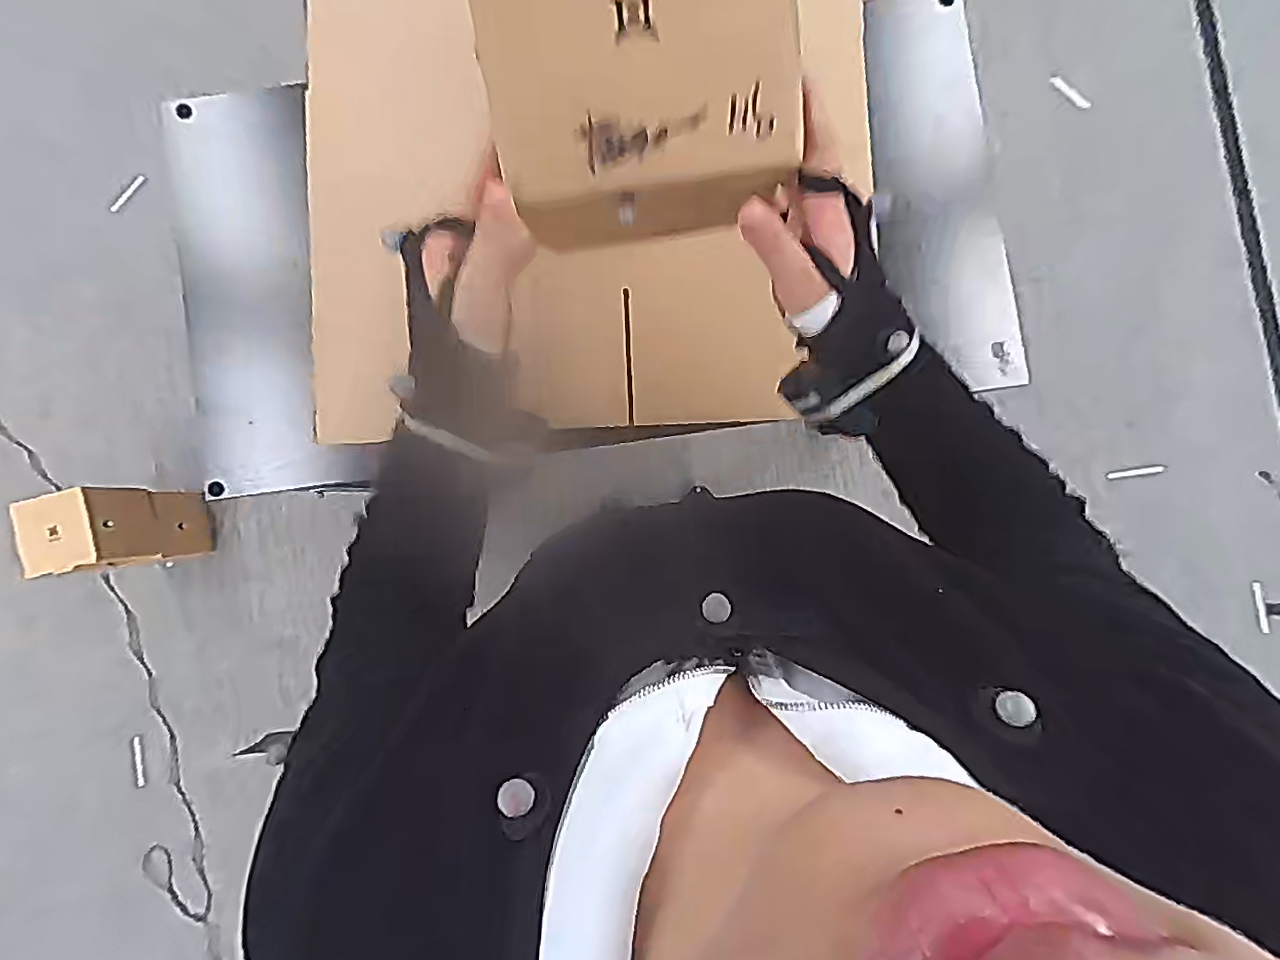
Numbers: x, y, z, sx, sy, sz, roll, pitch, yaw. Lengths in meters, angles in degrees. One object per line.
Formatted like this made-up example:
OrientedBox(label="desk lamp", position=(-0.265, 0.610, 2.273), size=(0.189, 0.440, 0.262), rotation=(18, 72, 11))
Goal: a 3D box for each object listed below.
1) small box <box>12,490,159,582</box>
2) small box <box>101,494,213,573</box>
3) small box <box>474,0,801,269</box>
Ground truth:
OrientedBox(label="small box", position=(-1.294, 0.127, 1.276), size=(0.168, 0.176, 0.179), rotation=(-15, 87, -1))
OrientedBox(label="small box", position=(-1.290, 0.139, 1.438), size=(0.168, 0.176, 0.179), rotation=(-12, 88, 0))
OrientedBox(label="small box", position=(-0.006, -0.255, 0.358), size=(0.168, 0.176, 0.179), rotation=(-9, 103, 0))
